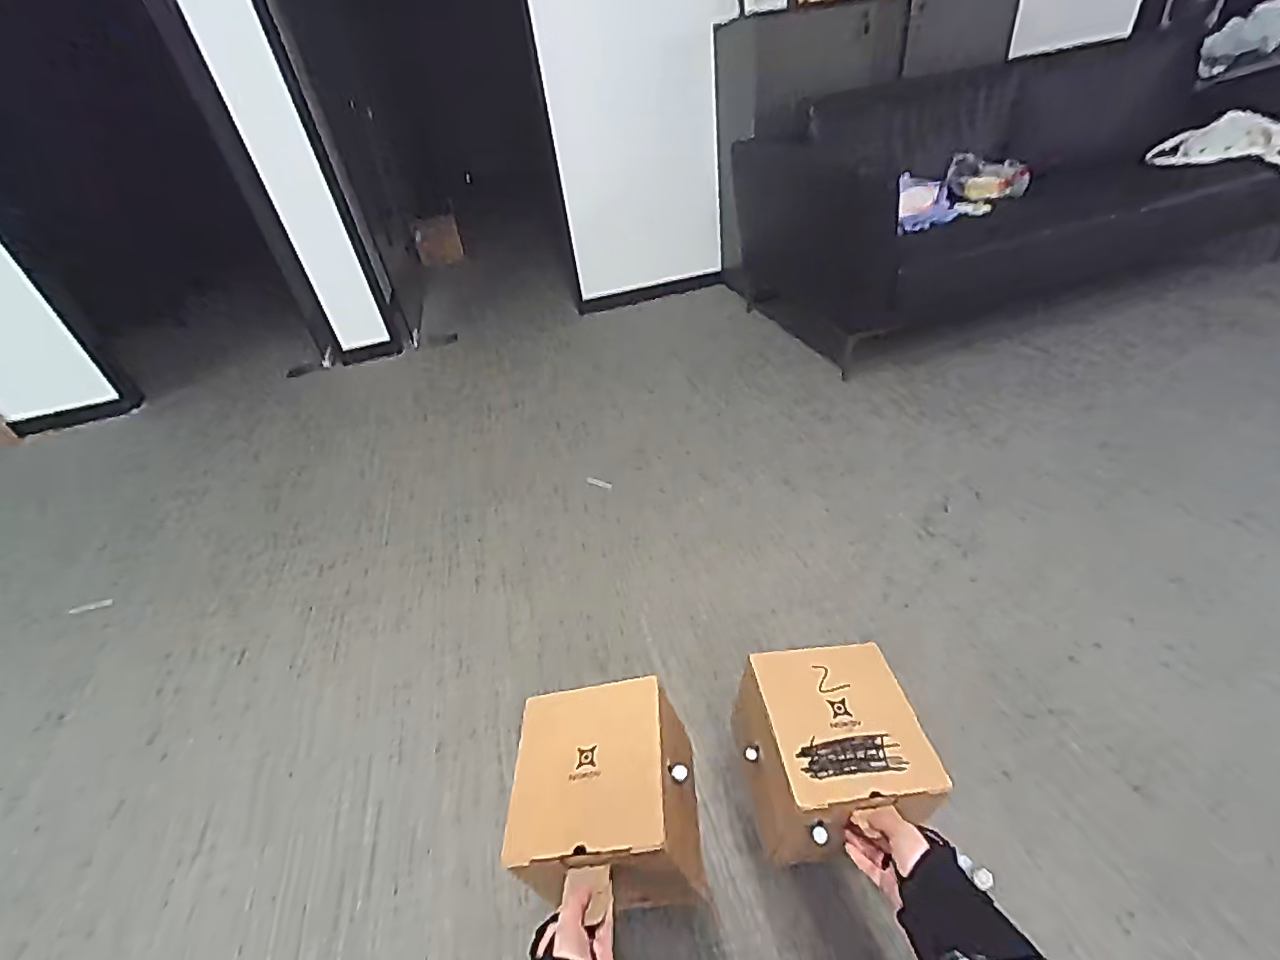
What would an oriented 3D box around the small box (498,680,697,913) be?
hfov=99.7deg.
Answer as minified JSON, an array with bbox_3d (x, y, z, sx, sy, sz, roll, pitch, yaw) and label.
[{"bbox_3d":[-0.037,0.361,0.618,0.168,0.176,0.179,-14,39,10],"label":"small box"}]
